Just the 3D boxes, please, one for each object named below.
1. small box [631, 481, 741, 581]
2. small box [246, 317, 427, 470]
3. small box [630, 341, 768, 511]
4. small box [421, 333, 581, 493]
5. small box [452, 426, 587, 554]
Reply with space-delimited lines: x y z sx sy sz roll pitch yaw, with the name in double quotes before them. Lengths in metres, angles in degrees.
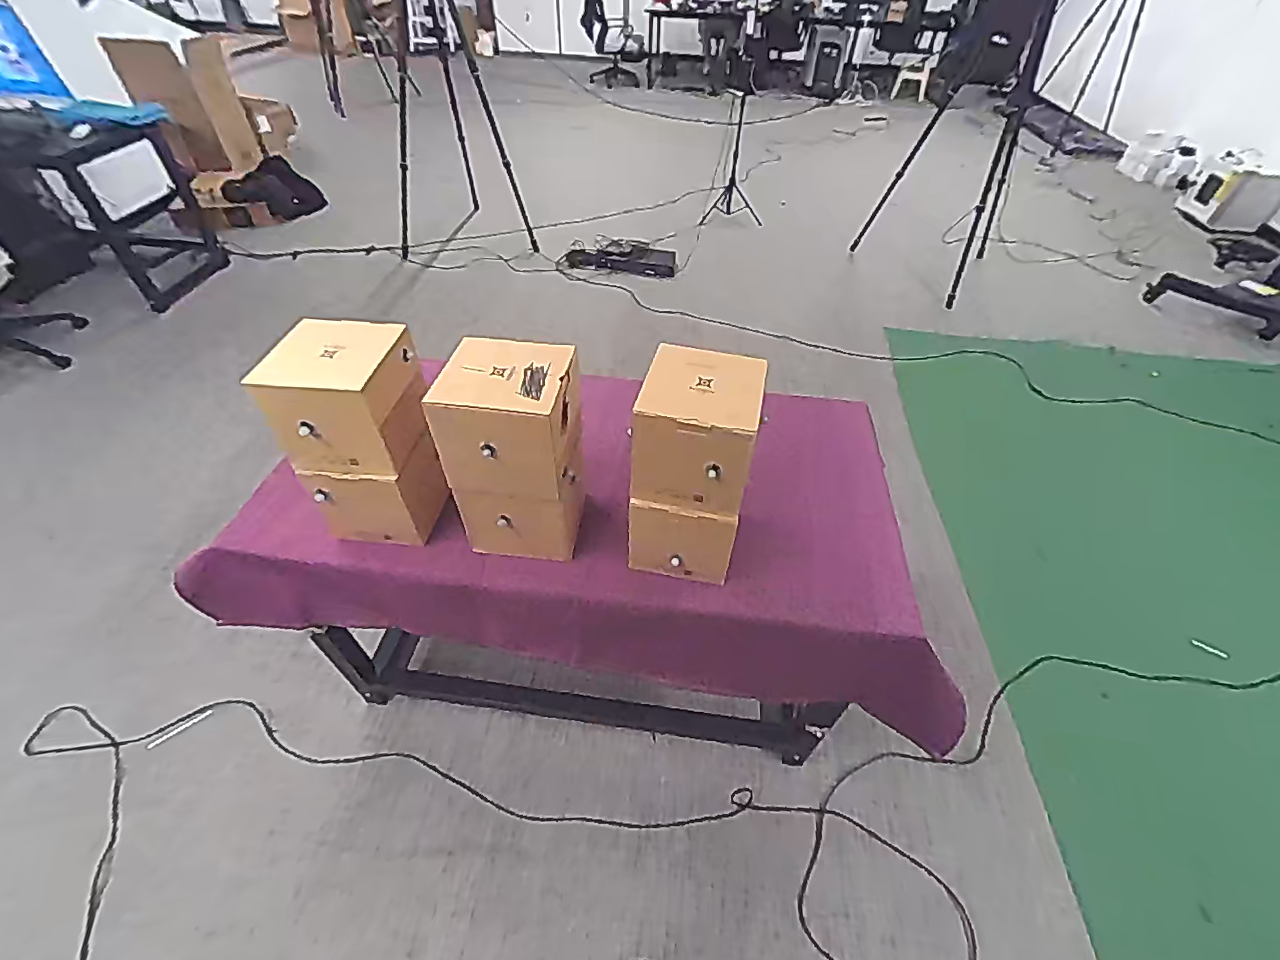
"small box" 0.080 0.040 0.913 0.168 0.176 0.179 10 46 8
"small box" -0.448 -0.133 0.840 0.168 0.176 0.179 4 45 2
"small box" 0.086 -0.079 0.803 0.168 0.176 0.179 12 45 9
"small box" -0.191 -0.097 0.811 0.179 0.176 0.168 6 46 6
"small box" -0.195 0.012 0.934 0.179 0.176 0.168 6 47 4
